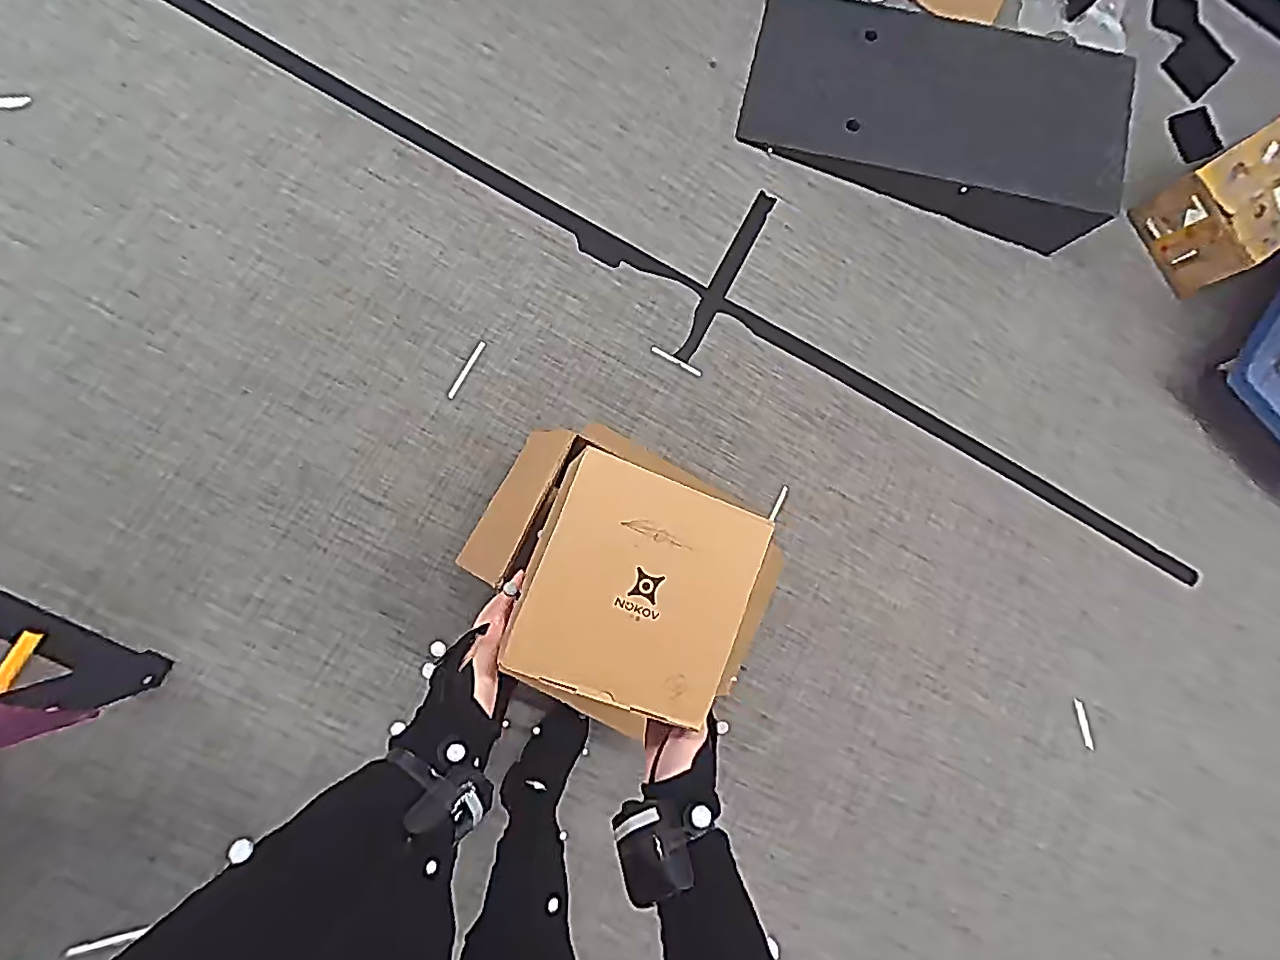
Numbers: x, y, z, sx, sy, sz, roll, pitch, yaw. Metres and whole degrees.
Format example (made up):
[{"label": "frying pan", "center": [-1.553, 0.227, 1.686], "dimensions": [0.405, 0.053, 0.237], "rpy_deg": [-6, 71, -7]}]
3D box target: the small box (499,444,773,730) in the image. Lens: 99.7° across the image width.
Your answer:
[{"label": "small box", "center": [-0.012, 0.086, 0.490], "dimensions": [0.168, 0.176, 0.179], "rpy_deg": [23, 83, -10]}]
